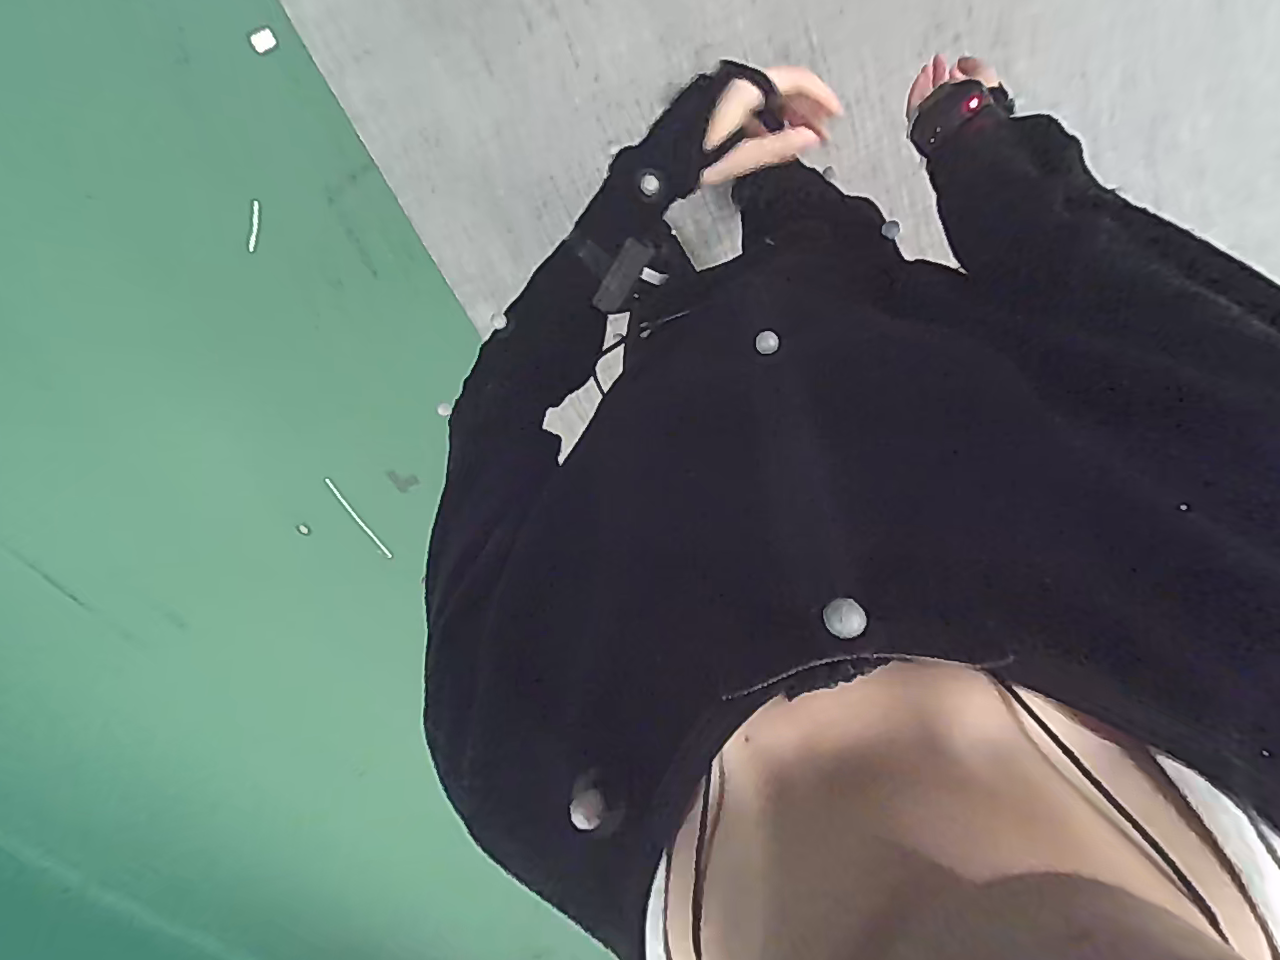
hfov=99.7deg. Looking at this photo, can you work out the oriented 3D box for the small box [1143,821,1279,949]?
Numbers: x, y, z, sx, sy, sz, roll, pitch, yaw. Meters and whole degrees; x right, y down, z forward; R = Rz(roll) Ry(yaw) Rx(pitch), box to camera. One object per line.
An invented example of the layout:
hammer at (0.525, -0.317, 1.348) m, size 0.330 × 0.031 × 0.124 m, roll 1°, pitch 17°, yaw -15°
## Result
small box at (1.327, 0.918, 1.233) m, size 0.179 × 0.176 × 0.168 m, roll 36°, pitch 111°, yaw -18°
